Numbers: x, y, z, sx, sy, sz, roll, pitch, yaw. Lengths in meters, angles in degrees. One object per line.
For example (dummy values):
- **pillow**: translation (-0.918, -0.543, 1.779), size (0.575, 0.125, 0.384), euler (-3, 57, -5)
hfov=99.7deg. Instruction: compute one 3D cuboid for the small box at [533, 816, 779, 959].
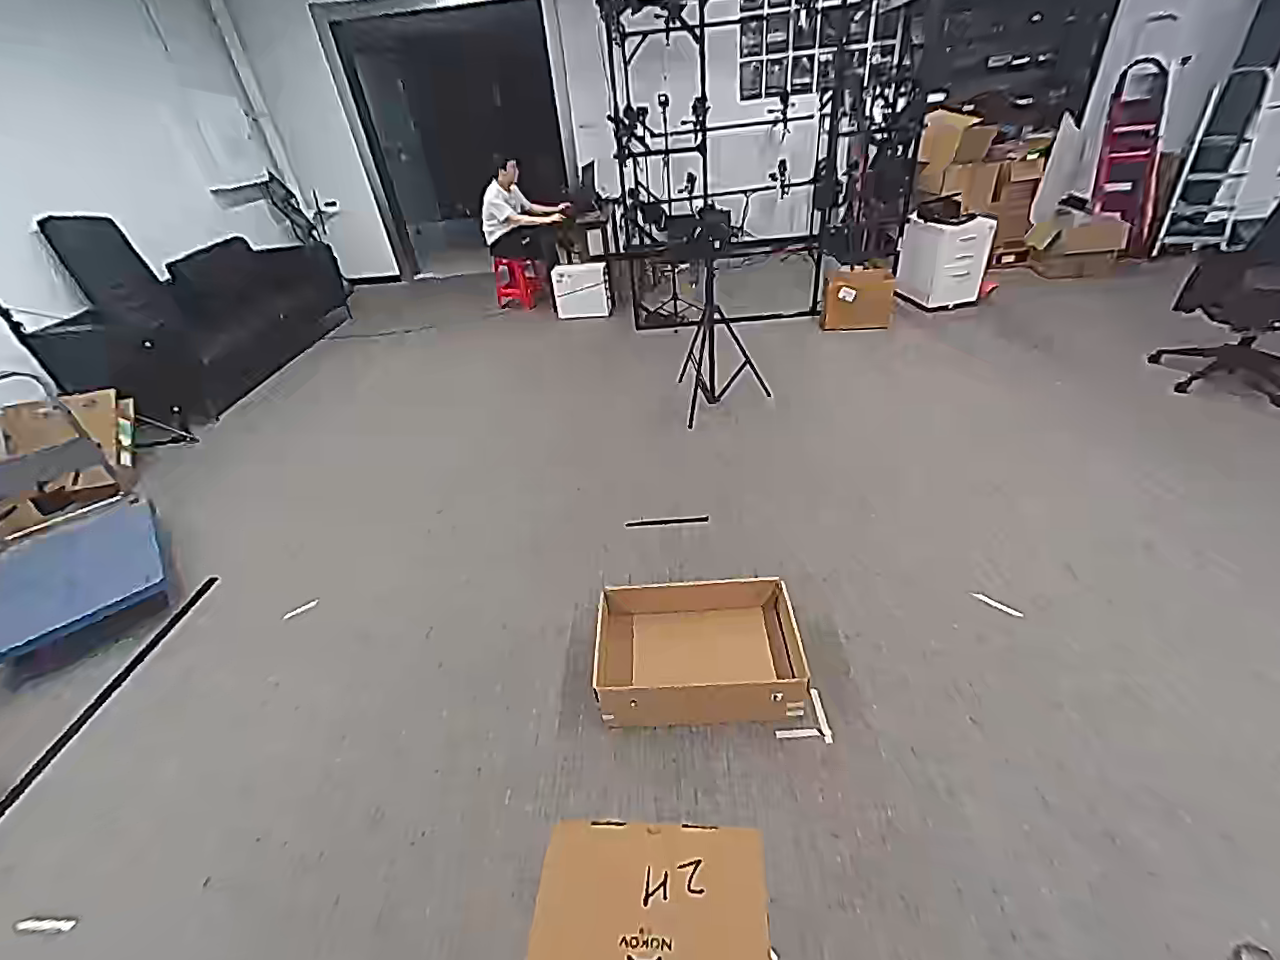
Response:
- **small box**: translation (0.016, 0.384, 0.395), size (0.168, 0.176, 0.179), euler (-1, 30, 6)
